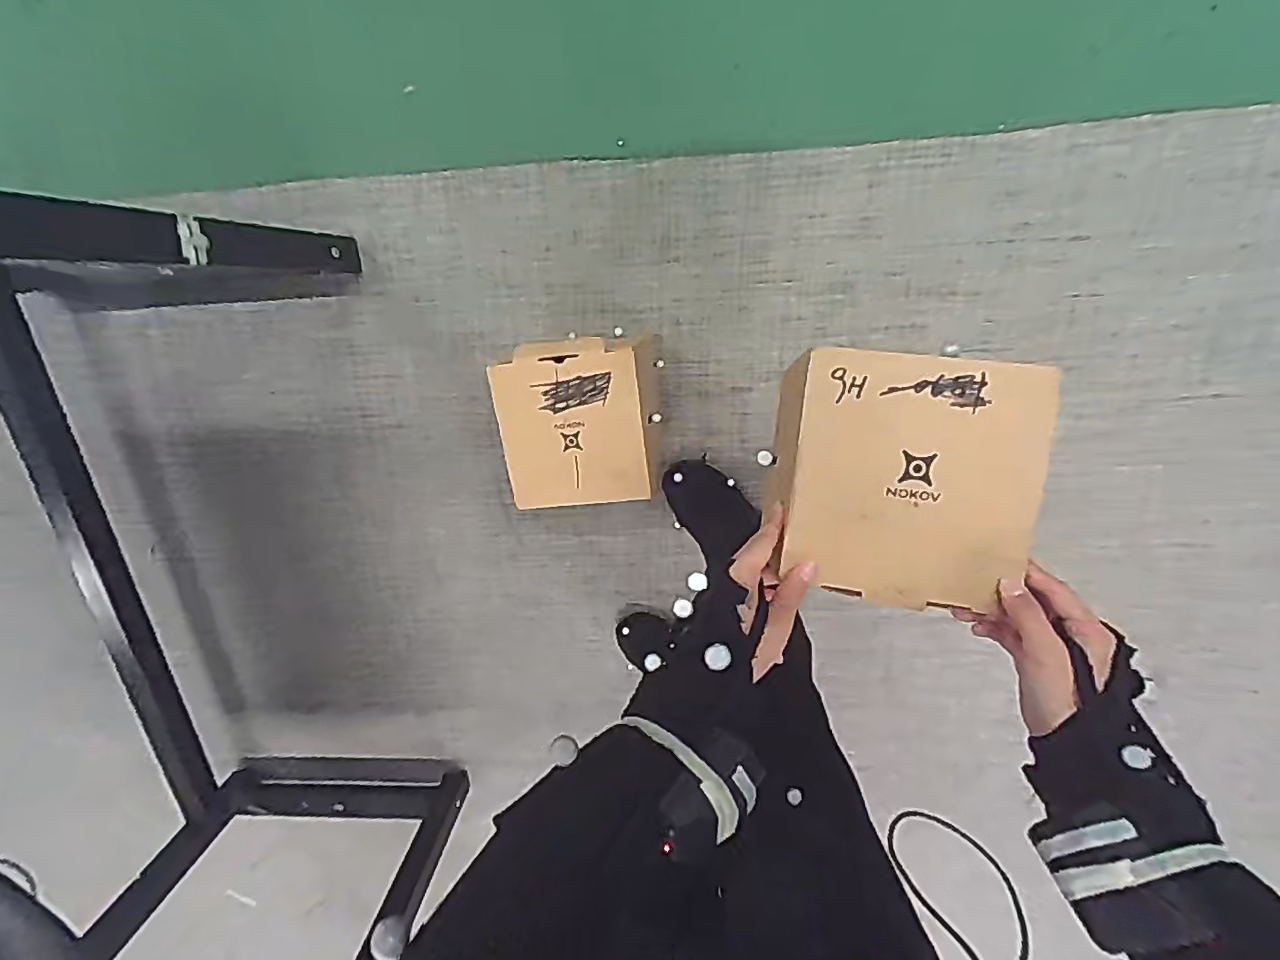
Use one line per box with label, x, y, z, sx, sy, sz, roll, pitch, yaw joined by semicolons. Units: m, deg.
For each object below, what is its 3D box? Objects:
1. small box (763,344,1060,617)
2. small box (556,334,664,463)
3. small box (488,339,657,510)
small box;0.200;-0.007;0.456;0.168;0.176;0.179;7;96;8
small box;-0.054;-0.127;0.832;0.168;0.176;0.179;-5;109;7
small box;-0.071;-0.078;0.676;0.168;0.176;0.179;-5;110;7
